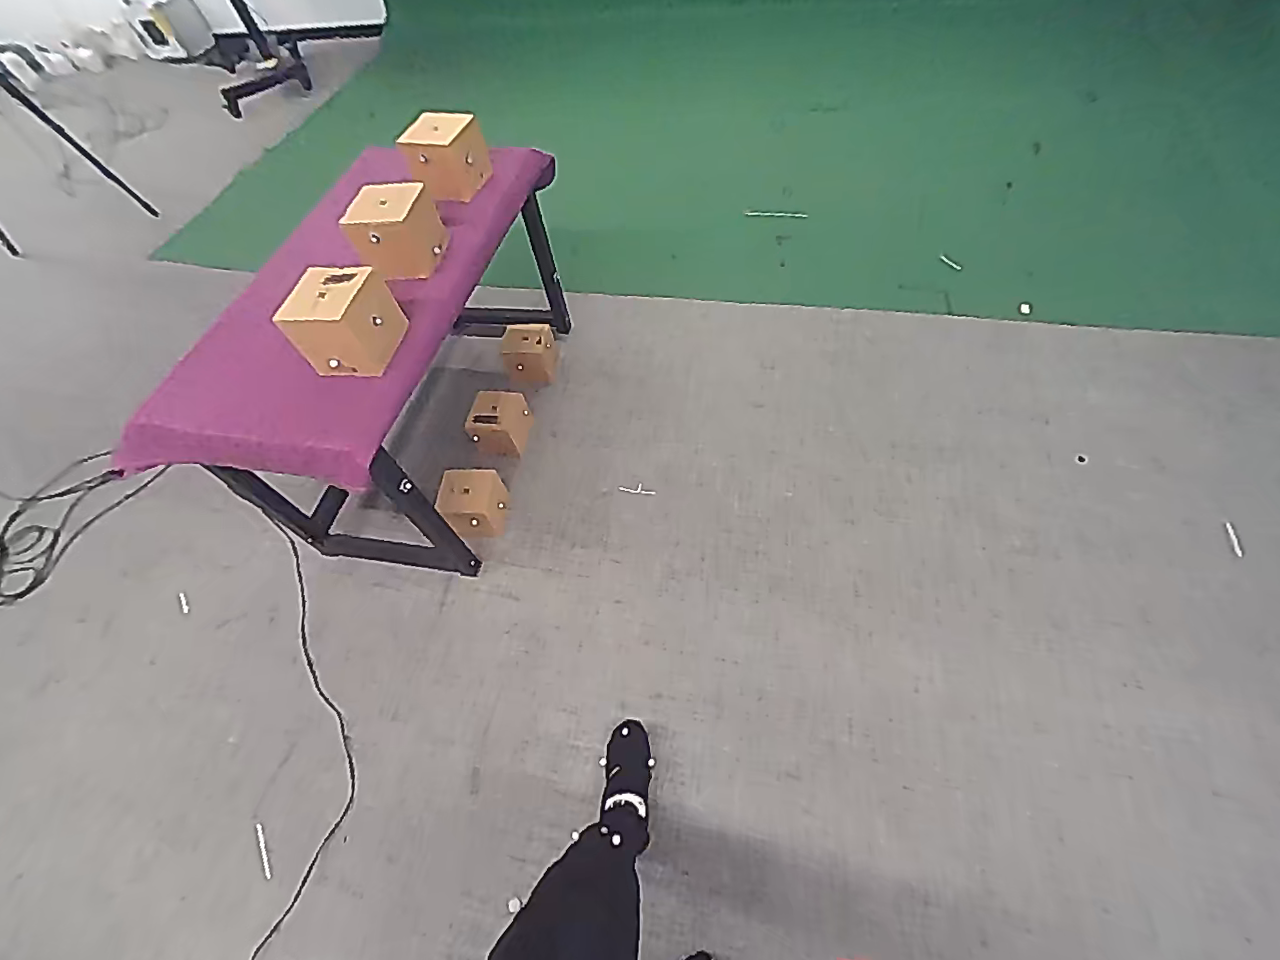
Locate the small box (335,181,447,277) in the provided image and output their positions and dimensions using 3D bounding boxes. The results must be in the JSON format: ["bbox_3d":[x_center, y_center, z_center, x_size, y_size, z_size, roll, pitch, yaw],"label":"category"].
[{"bbox_3d":[-0.632,-0.642,1.393,0.179,0.176,0.168,3,58,9],"label":"small box"}]

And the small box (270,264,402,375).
[{"bbox_3d":[-0.664,-0.359,1.210,0.168,0.176,0.179,3,58,11],"label":"small box"}]

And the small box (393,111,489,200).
[{"bbox_3d":[-0.573,-0.948,1.585,0.179,0.176,0.168,12,60,15],"label":"small box"}]

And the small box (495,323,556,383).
[{"bbox_3d":[-0.449,-0.501,2.149,0.179,0.176,0.168,1,57,8],"label":"small box"}]

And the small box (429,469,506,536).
[{"bbox_3d":[-0.560,0.077,1.786,0.179,0.176,0.168,-1,57,7],"label":"small box"}]
